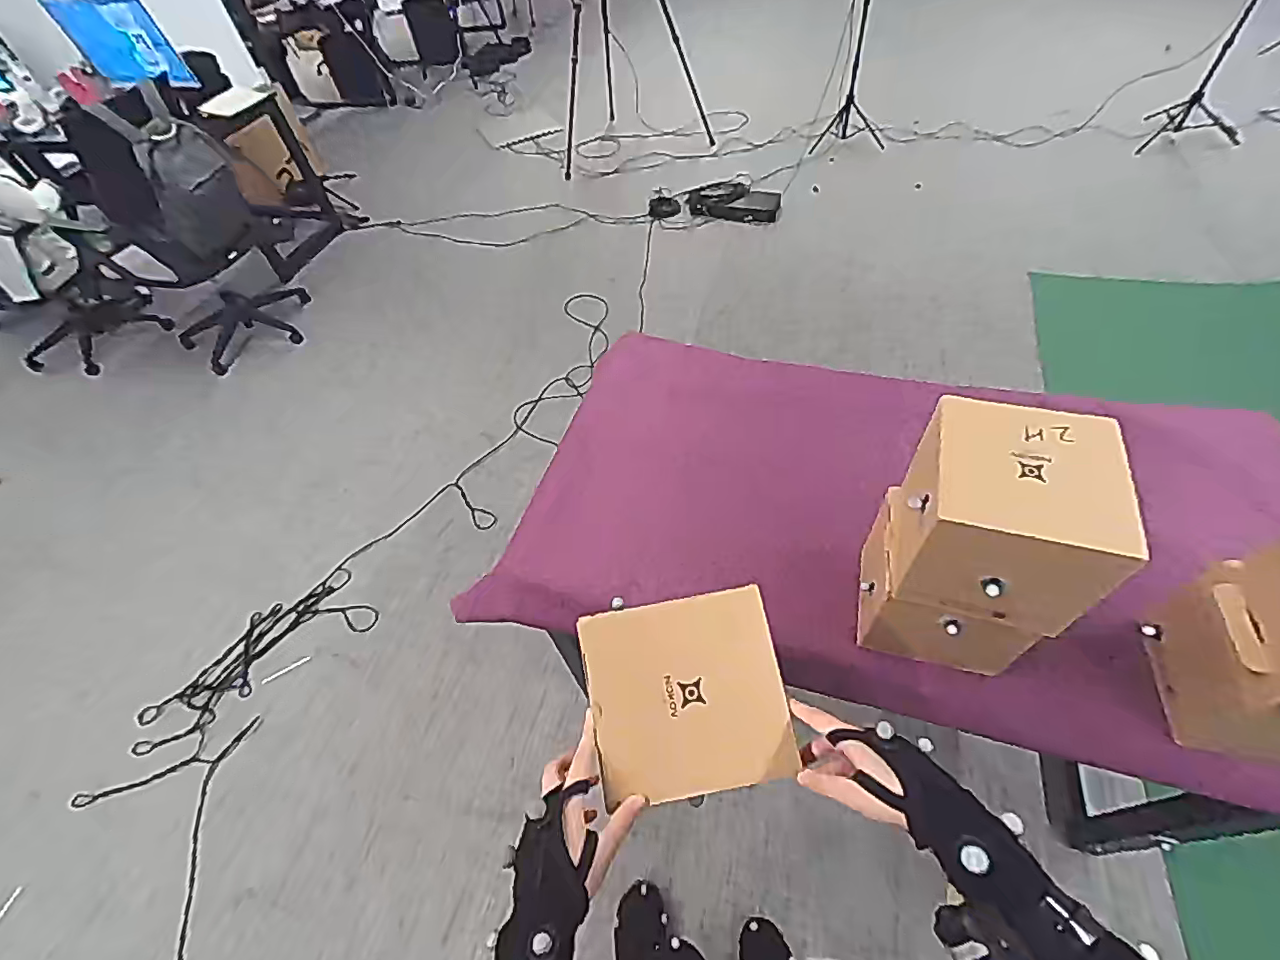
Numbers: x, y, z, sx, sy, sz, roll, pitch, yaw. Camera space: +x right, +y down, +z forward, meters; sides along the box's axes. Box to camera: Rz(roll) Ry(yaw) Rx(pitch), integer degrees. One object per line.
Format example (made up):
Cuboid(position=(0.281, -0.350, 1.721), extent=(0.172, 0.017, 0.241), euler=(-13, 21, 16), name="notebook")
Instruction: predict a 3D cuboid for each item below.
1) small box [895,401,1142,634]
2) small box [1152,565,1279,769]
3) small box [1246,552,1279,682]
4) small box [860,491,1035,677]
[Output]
Cuboid(position=(0.390, 0.043, 0.591), extent=(0.168, 0.176, 0.179), euler=(12, 54, 17), name="small box")
Cuboid(position=(0.735, 0.220, 0.610), extent=(0.179, 0.176, 0.168), euler=(8, 54, 14), name="small box")
Cuboid(position=(0.710, 0.131, 0.473), extent=(0.168, 0.176, 0.179), euler=(10, 53, 16), name="small box")
Cuboid(position=(0.403, 0.141, 0.722), extent=(0.179, 0.176, 0.168), euler=(11, 53, 15), name="small box")
